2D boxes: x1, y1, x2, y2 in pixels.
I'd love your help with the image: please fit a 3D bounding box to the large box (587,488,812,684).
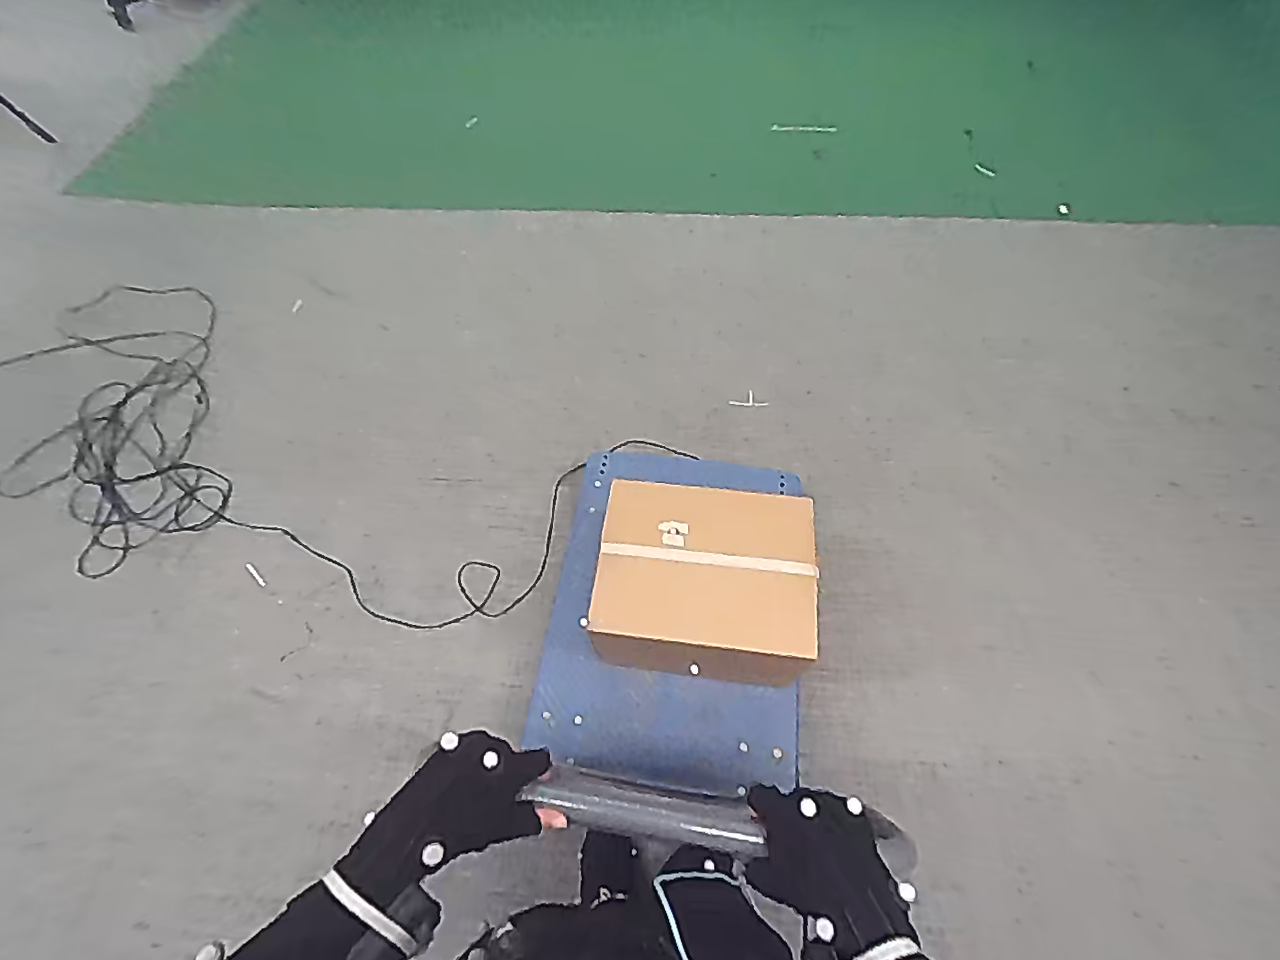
[{"bbox_3d":[0.128,0.235,1.153,0.408,0.320,0.320,5,60,7],"label":"large box"}]
